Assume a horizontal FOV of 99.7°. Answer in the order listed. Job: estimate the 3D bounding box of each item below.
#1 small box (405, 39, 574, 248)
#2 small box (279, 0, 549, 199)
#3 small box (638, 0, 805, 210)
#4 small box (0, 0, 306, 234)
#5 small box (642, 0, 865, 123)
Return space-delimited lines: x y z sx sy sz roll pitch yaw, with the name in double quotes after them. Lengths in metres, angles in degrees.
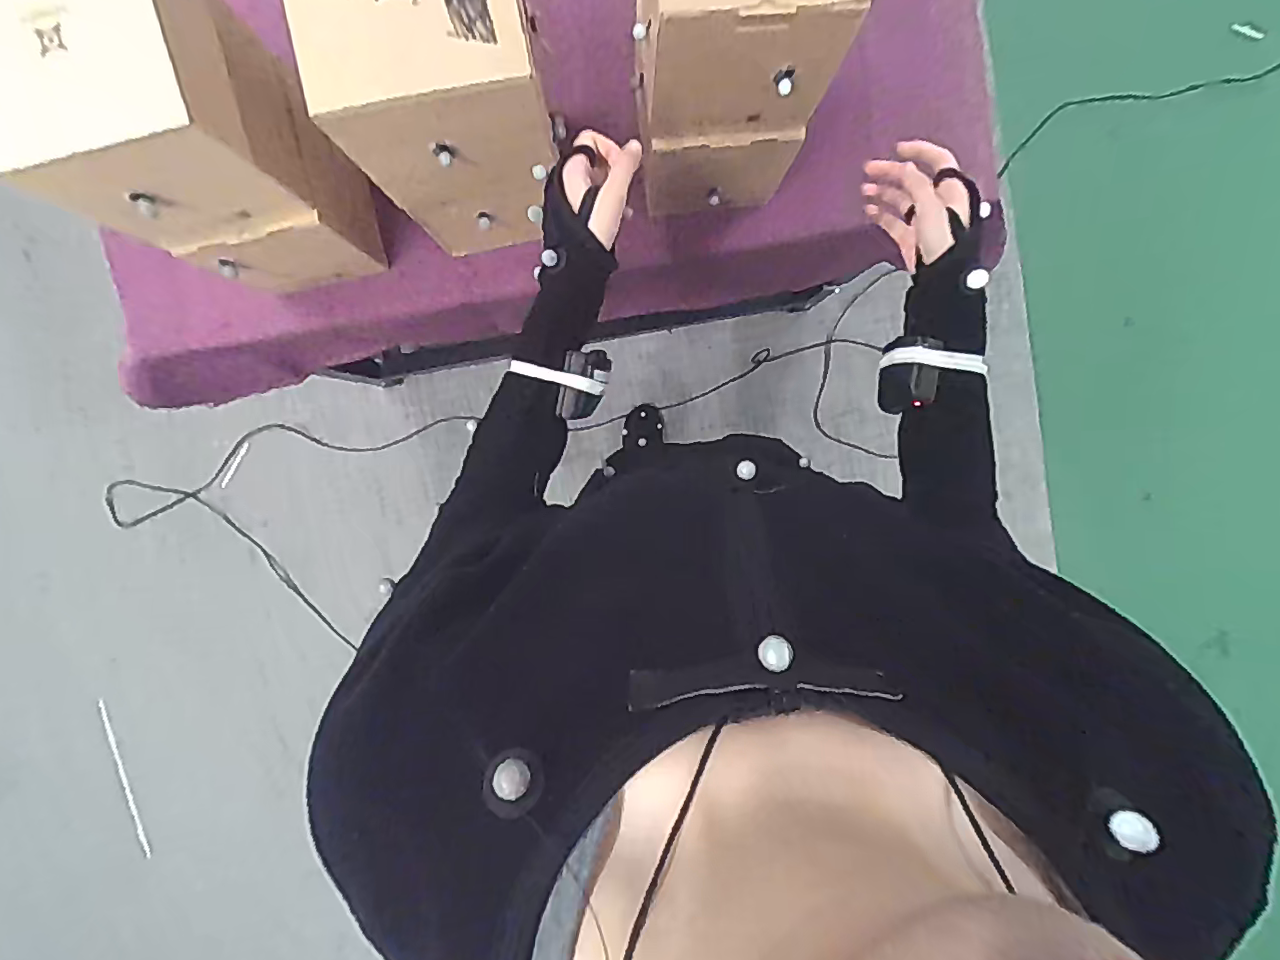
-0.187 -0.397 0.644 0.179 0.176 0.168 -11 95 0 "small box"
-0.184 -0.377 0.480 0.179 0.176 0.168 -9 94 1 "small box"
0.086 -0.450 0.642 0.168 0.176 0.179 -5 95 1 "small box"
-0.441 -0.342 0.483 0.168 0.176 0.179 -14 94 0 "small box"
0.087 -0.447 0.479 0.168 0.176 0.179 -3 94 -1 "small box"
